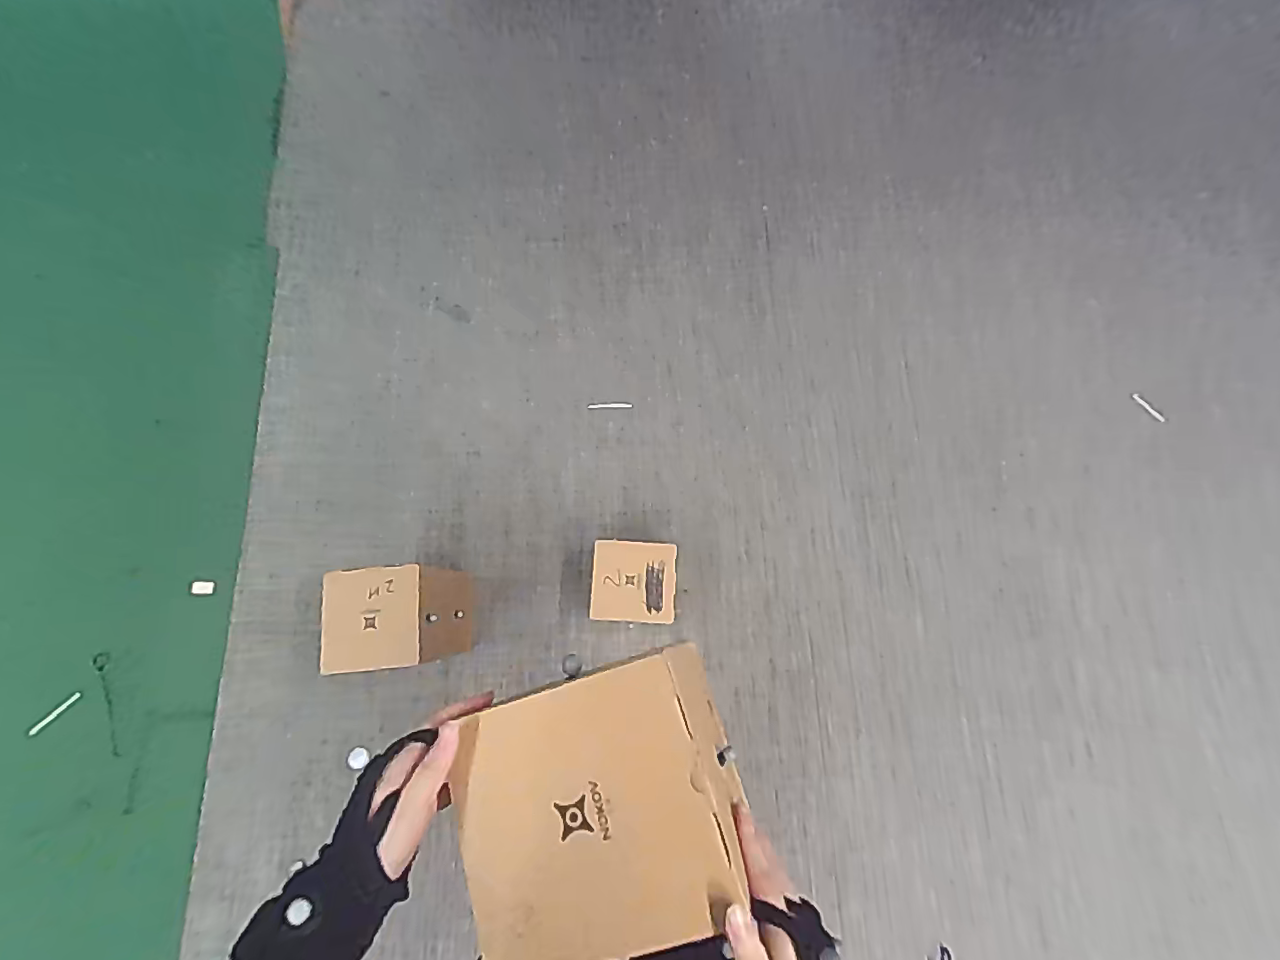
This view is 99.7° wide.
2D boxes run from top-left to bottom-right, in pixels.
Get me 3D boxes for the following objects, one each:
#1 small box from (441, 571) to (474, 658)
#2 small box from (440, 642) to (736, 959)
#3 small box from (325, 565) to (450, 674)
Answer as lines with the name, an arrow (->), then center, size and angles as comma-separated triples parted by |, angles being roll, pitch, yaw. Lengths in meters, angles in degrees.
small box -> -0.466, 0.294, 1.182 | 0.168, 0.176, 0.179 | -3, 76, -3
small box -> -0.030, 0.241, 0.445 | 0.179, 0.176, 0.168 | -20, 73, 7
small box -> -0.465, 0.259, 1.021 | 0.168, 0.176, 0.179 | -4, 77, -3
